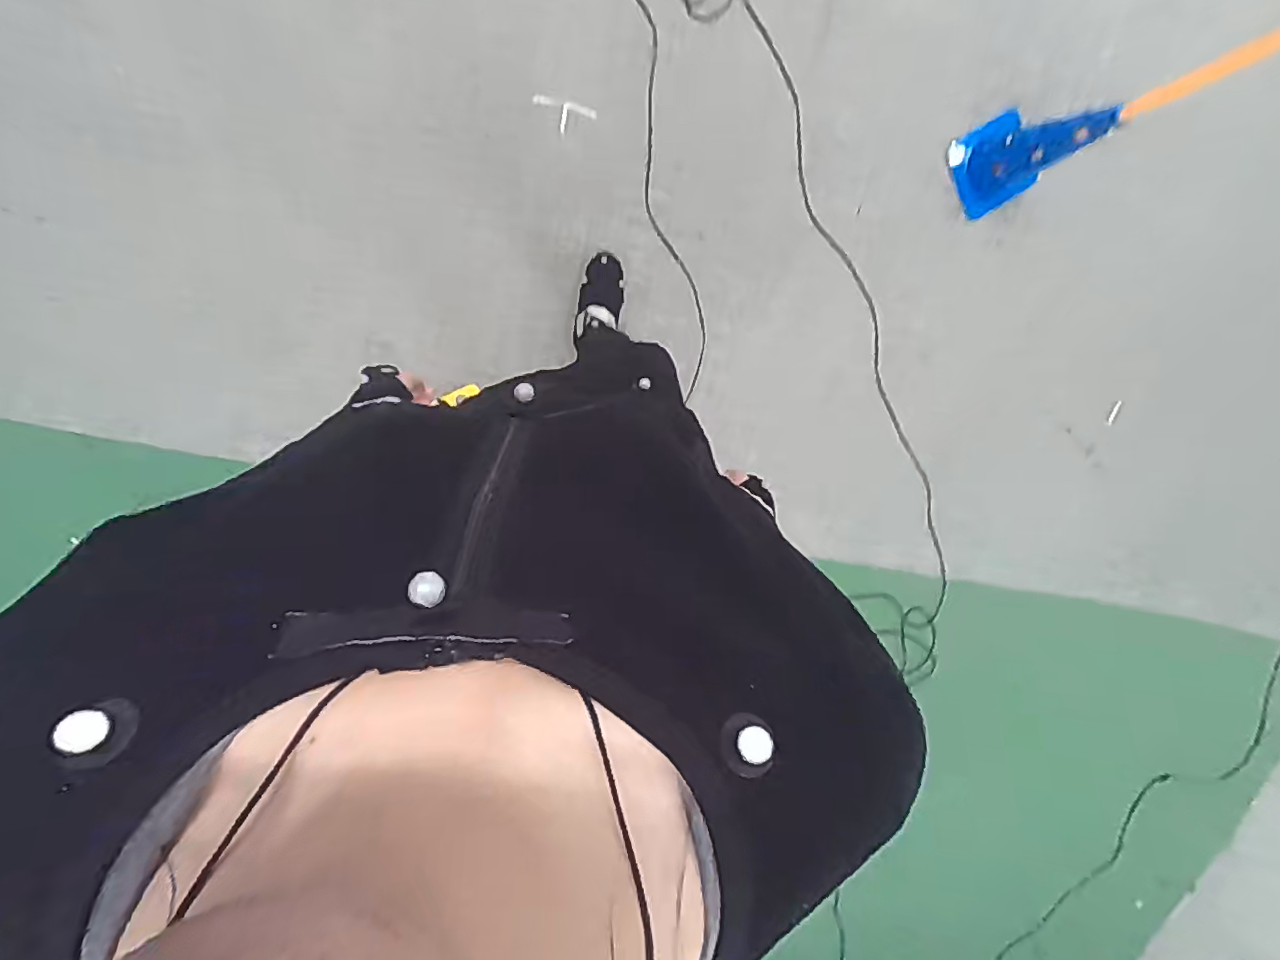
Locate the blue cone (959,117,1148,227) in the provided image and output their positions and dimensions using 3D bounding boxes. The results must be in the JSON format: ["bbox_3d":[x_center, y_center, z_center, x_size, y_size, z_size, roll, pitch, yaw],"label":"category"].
[{"bbox_3d":[0.911,-0.715,1.183,0.193,0.380,0.192,-32,106,4],"label":"blue cone"}]
